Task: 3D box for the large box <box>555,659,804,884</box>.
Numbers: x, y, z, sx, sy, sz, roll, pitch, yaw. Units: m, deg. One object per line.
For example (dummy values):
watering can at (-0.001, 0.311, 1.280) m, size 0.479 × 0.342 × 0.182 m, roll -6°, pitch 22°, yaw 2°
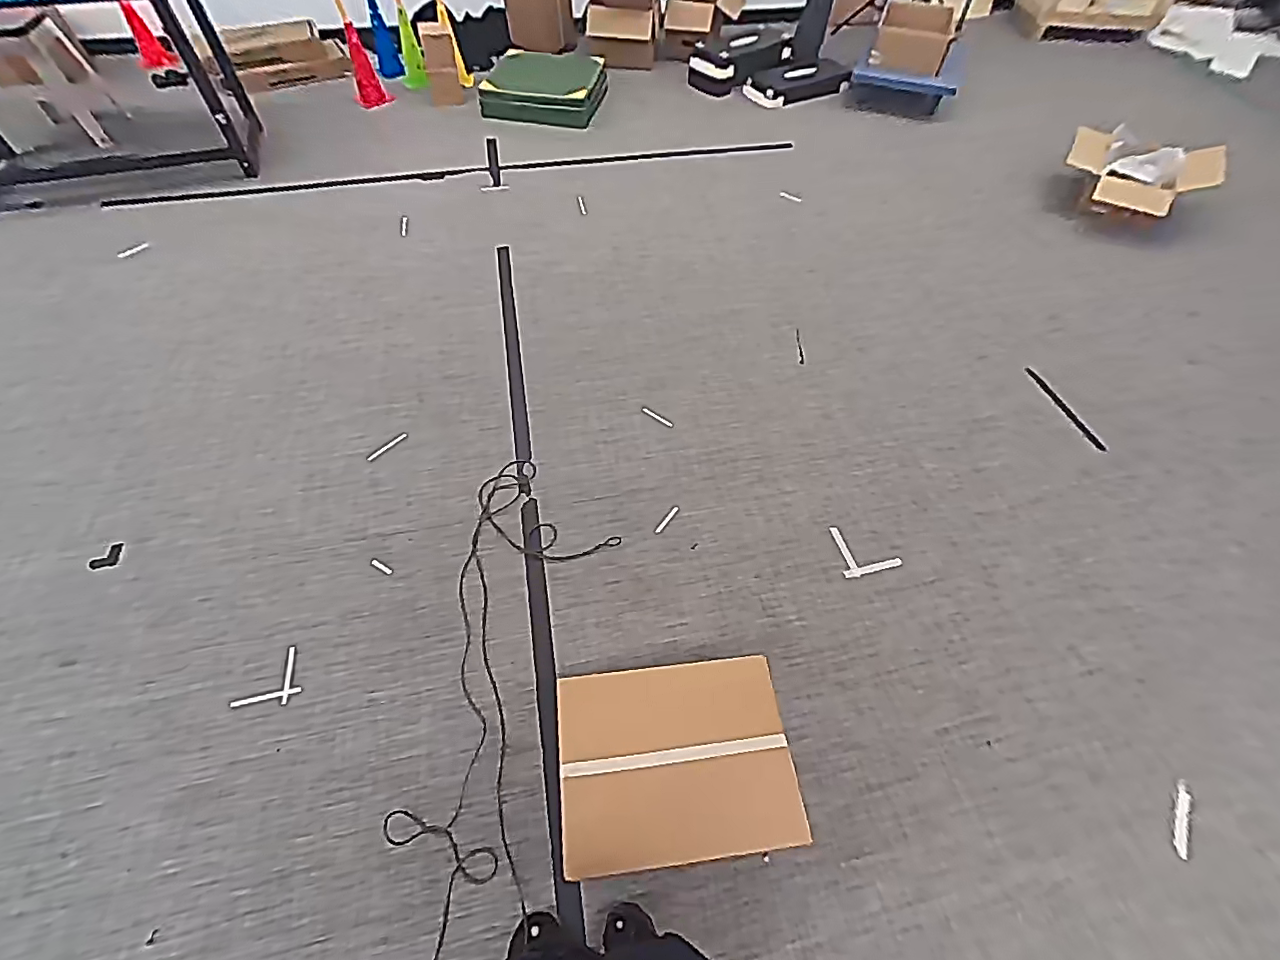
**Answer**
large box at (0.053, 0.576, 1.073) m, size 0.408 × 0.320 × 0.320 m, roll -5°, pitch 54°, yaw -6°
